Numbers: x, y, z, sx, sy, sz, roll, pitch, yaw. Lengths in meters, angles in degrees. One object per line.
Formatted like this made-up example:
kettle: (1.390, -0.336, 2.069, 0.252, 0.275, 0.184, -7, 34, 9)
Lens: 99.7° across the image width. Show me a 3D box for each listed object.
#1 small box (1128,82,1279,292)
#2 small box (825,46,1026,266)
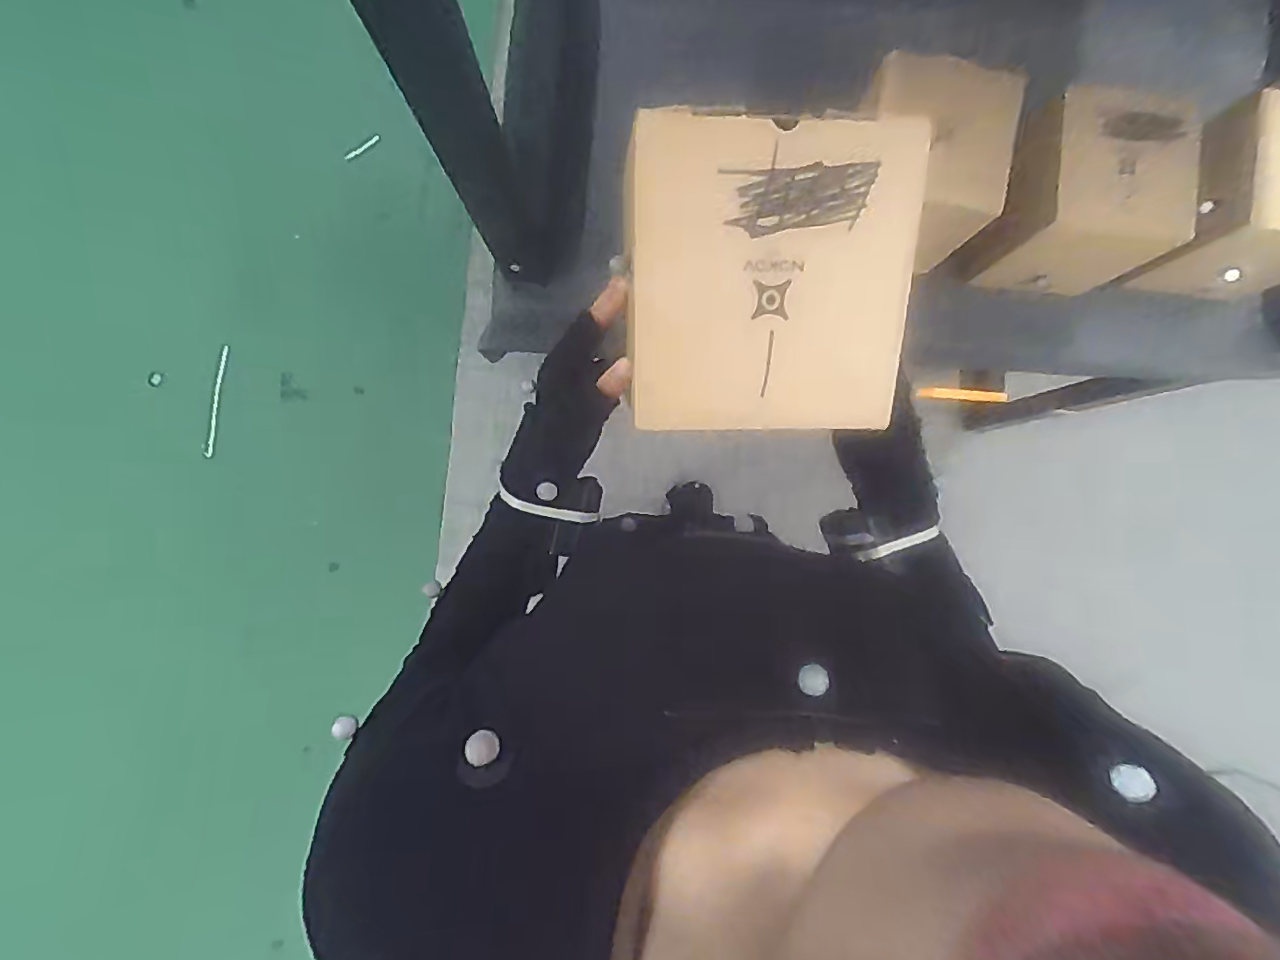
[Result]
small box: (0.799, -0.369, 0.713, 0.168, 0.176, 0.179, 8, 86, 0)
small box: (0.360, -0.410, 0.715, 0.168, 0.176, 0.179, 11, 87, 0)
